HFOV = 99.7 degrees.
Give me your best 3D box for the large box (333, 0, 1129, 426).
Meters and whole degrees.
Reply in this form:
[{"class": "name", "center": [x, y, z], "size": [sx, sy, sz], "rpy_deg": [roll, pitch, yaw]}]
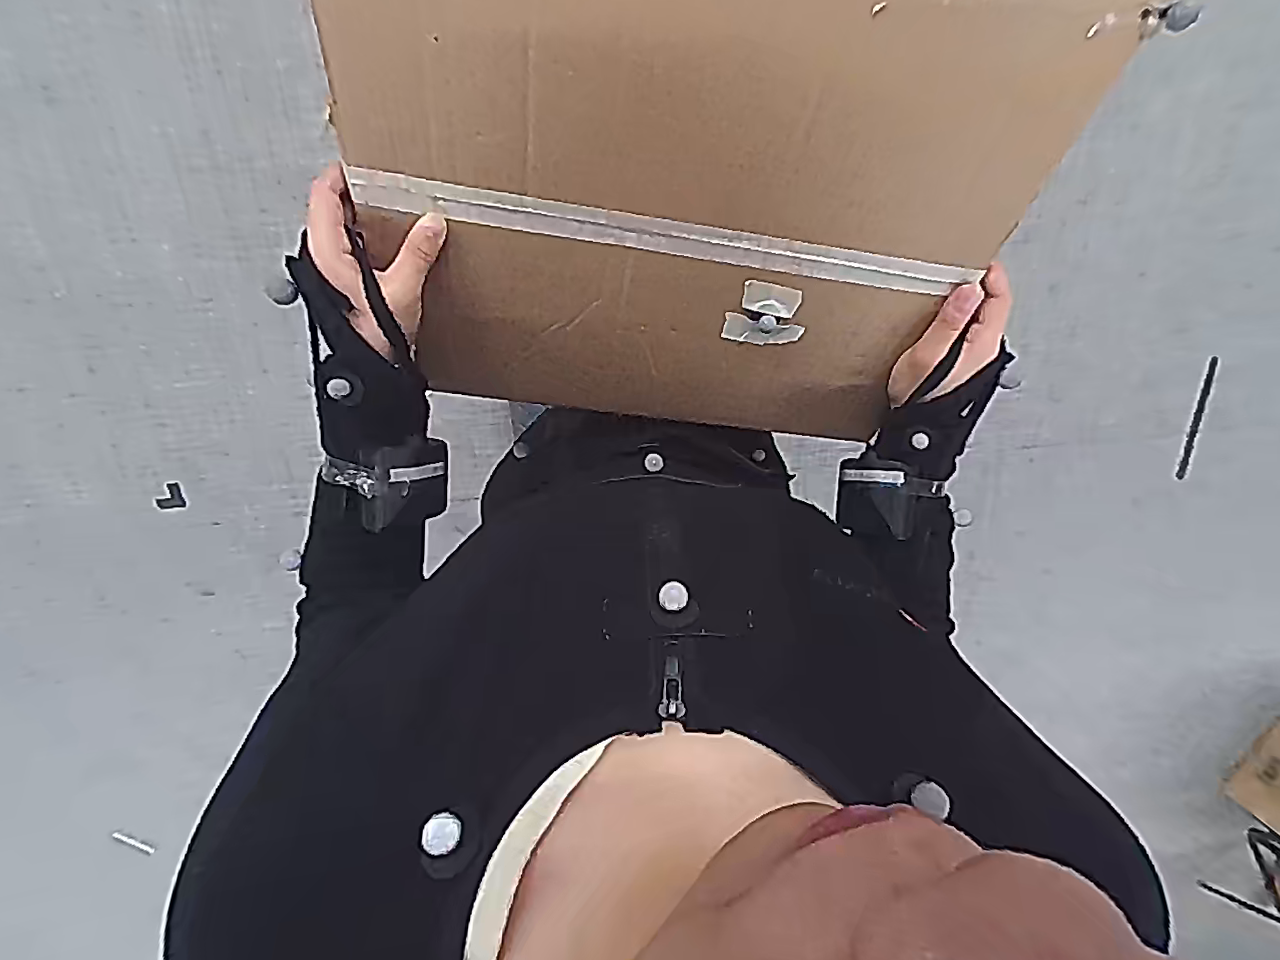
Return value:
[{"class": "large box", "center": [0.024, -0.274, 0.453], "size": [0.408, 0.320, 0.320], "rpy_deg": [4, 139, -9]}]
